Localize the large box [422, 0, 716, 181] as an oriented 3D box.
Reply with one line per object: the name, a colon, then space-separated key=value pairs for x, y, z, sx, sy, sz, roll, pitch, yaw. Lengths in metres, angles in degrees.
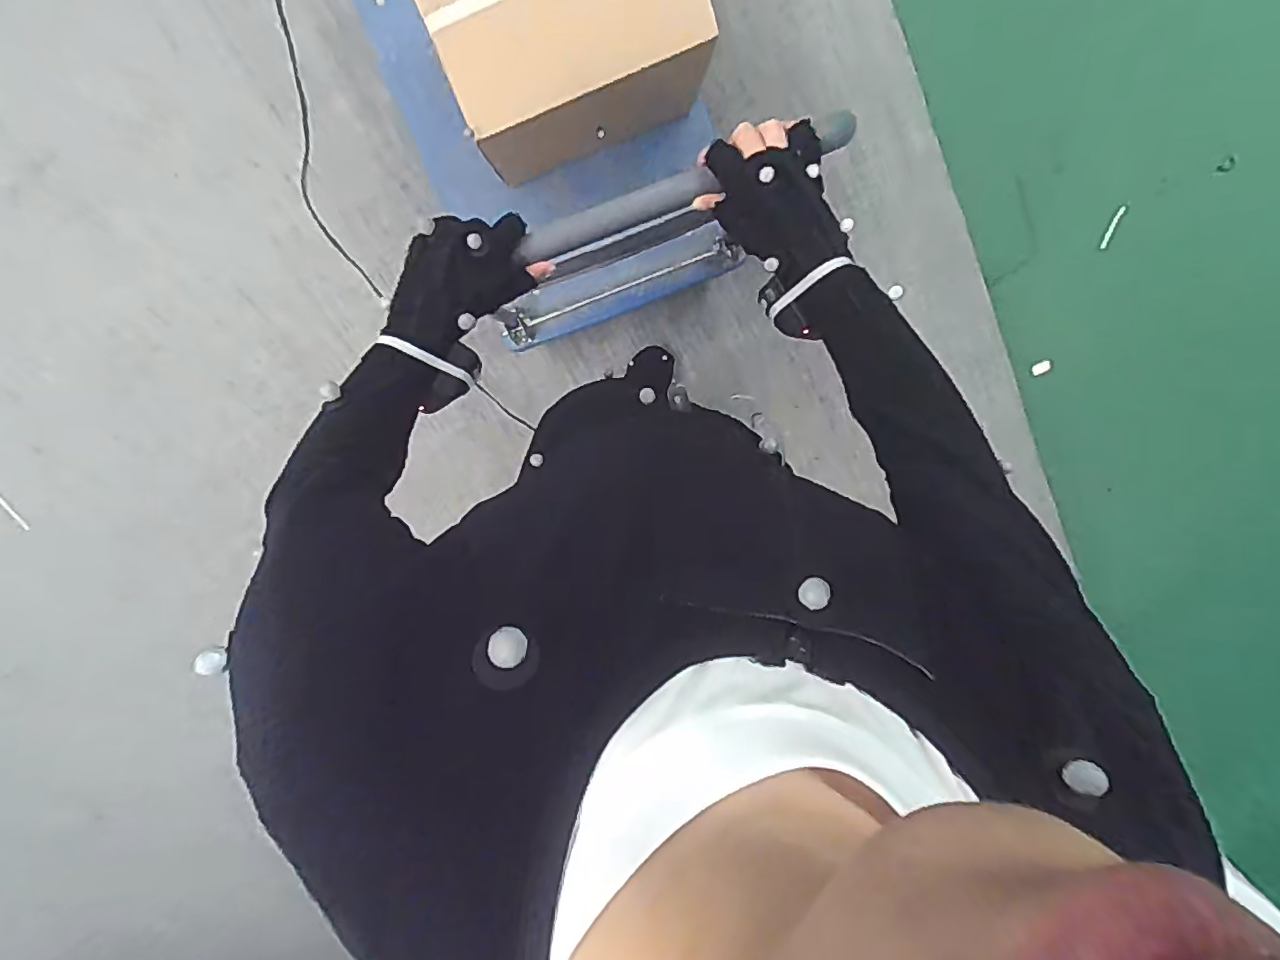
large box: x=-0.125 y=-0.783 z=0.934 sx=0.408 sy=0.320 sz=0.320 roll=-21 pitch=105 yaw=5
